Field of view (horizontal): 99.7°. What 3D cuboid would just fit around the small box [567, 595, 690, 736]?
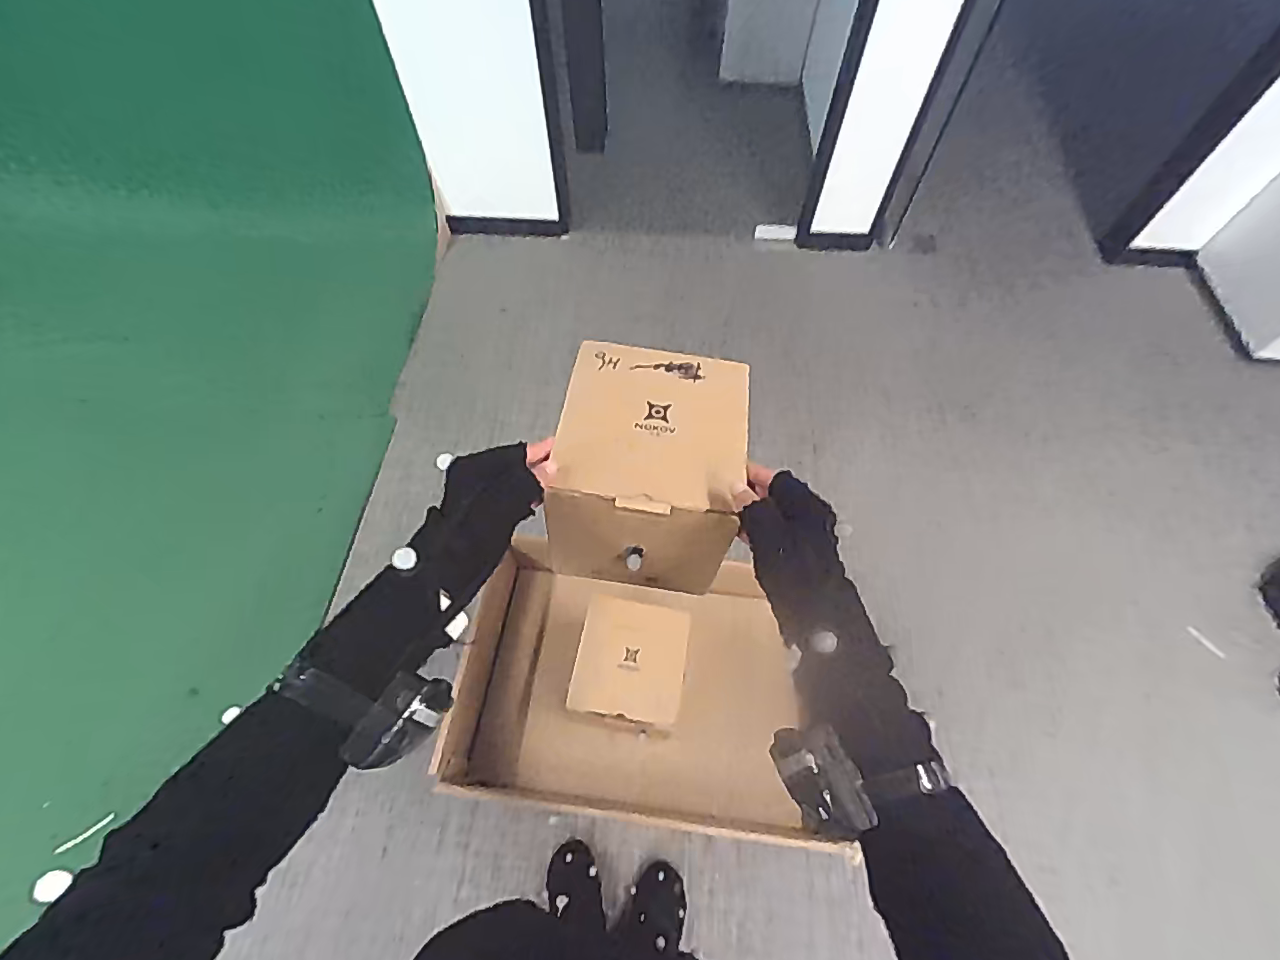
[{"bbox_3d":[-0.016,0.312,0.894,0.168,0.176,0.179,10,58,2],"label":"small box"}]

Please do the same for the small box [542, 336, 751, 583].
[{"bbox_3d":[0.009,-0.012,0.540,0.168,0.176,0.179,9,58,0],"label":"small box"}]
